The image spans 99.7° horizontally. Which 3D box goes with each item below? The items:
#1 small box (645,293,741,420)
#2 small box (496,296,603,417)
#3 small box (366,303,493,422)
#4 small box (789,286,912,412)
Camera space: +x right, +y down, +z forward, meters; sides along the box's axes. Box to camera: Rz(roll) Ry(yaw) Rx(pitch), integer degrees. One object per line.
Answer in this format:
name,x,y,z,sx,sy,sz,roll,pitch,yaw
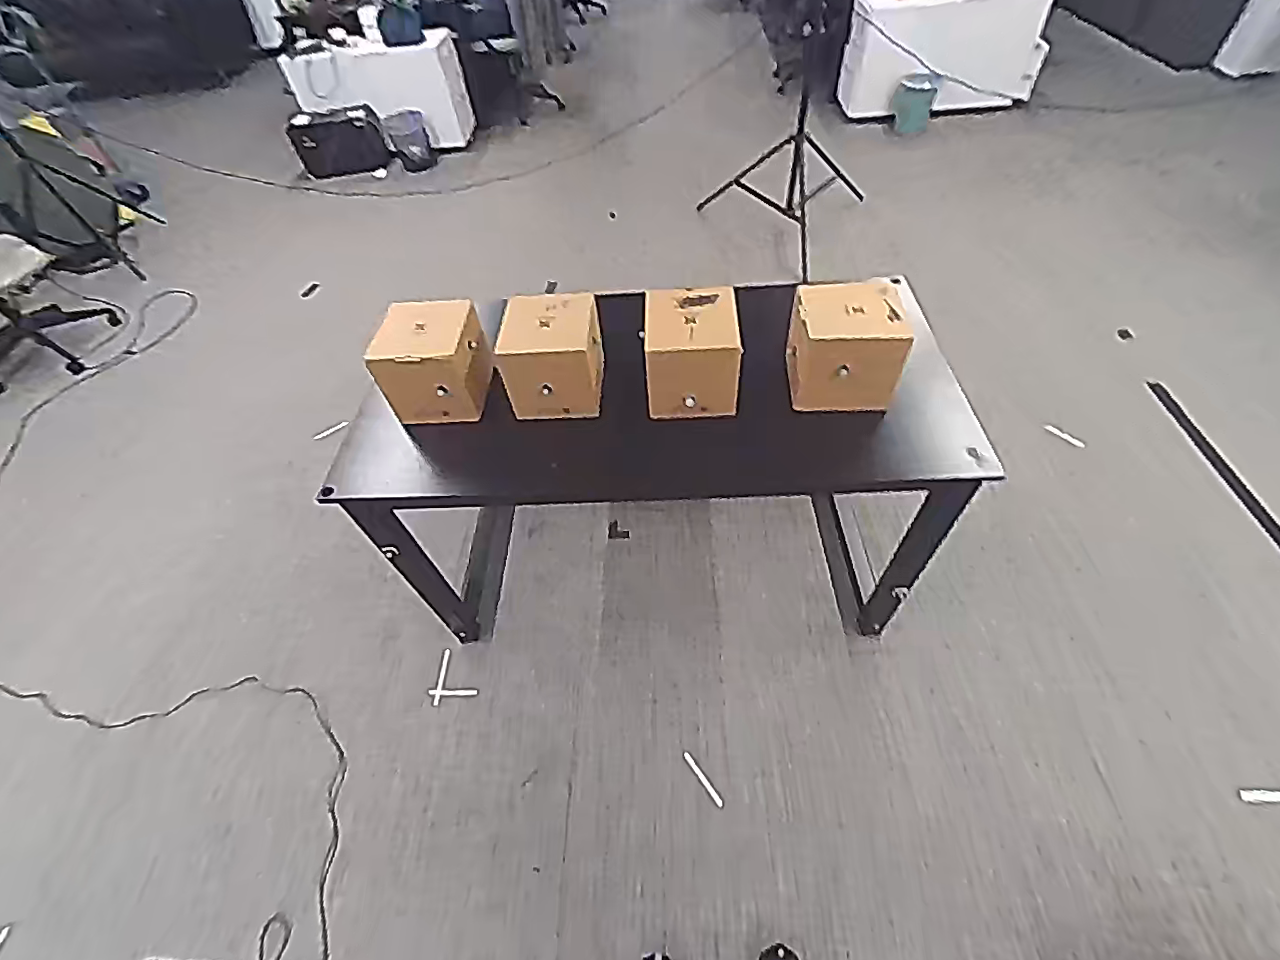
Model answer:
small box,0.098,-0.235,1.033,0.168,0.176,0.179,-2,52,4
small box,-0.166,-0.235,1.058,0.168,0.176,0.179,-1,52,4
small box,-0.405,-0.228,1.077,0.168,0.176,0.179,-2,51,3
small box,0.378,-0.239,1.010,0.179,0.176,0.168,0,52,7
